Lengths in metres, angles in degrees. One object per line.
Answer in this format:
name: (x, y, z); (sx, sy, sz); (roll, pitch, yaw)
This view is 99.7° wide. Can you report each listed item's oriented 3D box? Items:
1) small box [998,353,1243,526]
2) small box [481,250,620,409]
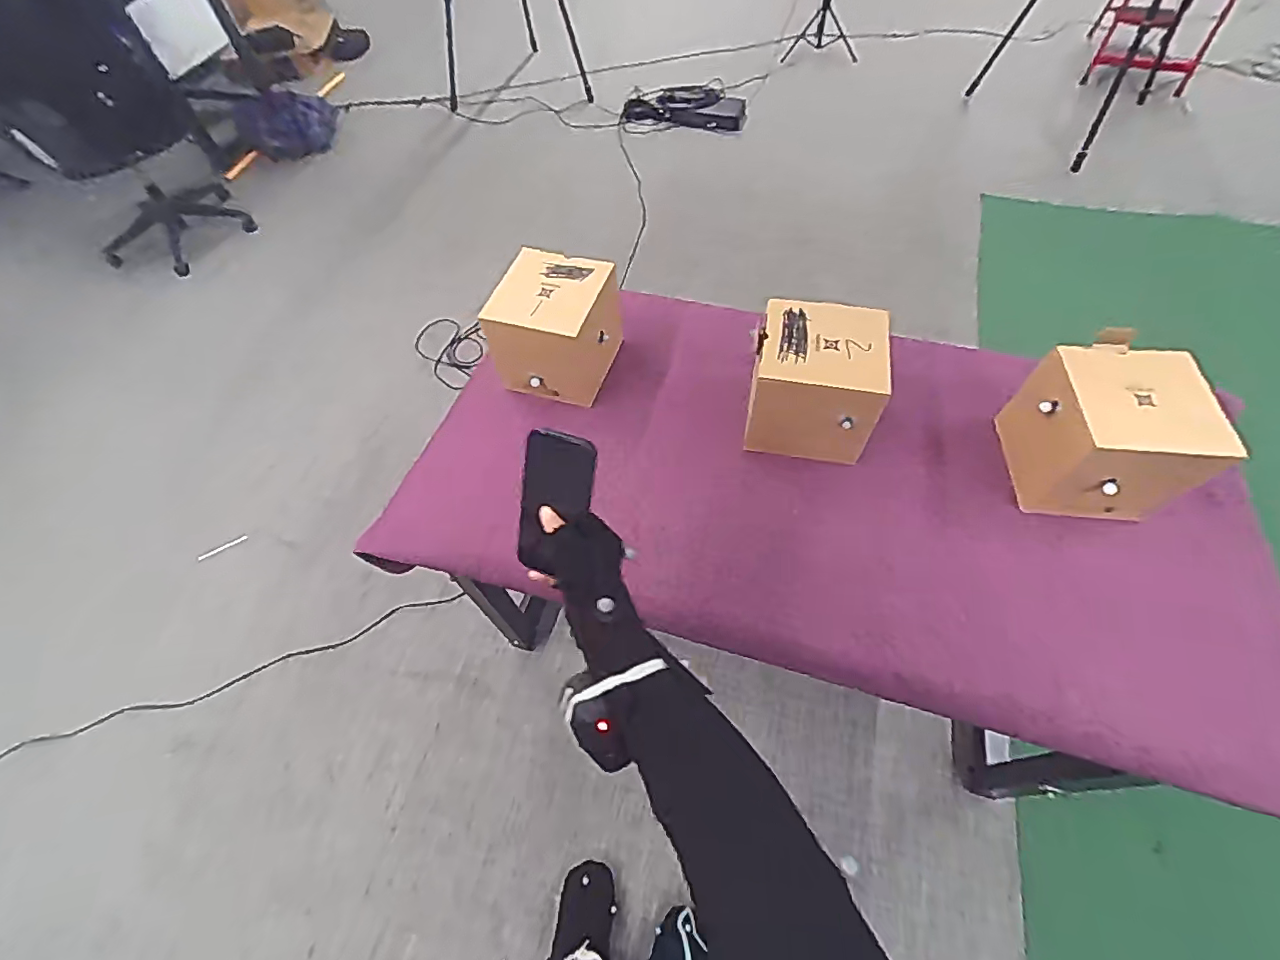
small box: (0.635, -0.052, 0.747); (0.168, 0.176, 0.179); (5, 57, 7)
small box: (-0.137, -0.250, 0.911); (0.168, 0.176, 0.179); (15, 61, 12)
